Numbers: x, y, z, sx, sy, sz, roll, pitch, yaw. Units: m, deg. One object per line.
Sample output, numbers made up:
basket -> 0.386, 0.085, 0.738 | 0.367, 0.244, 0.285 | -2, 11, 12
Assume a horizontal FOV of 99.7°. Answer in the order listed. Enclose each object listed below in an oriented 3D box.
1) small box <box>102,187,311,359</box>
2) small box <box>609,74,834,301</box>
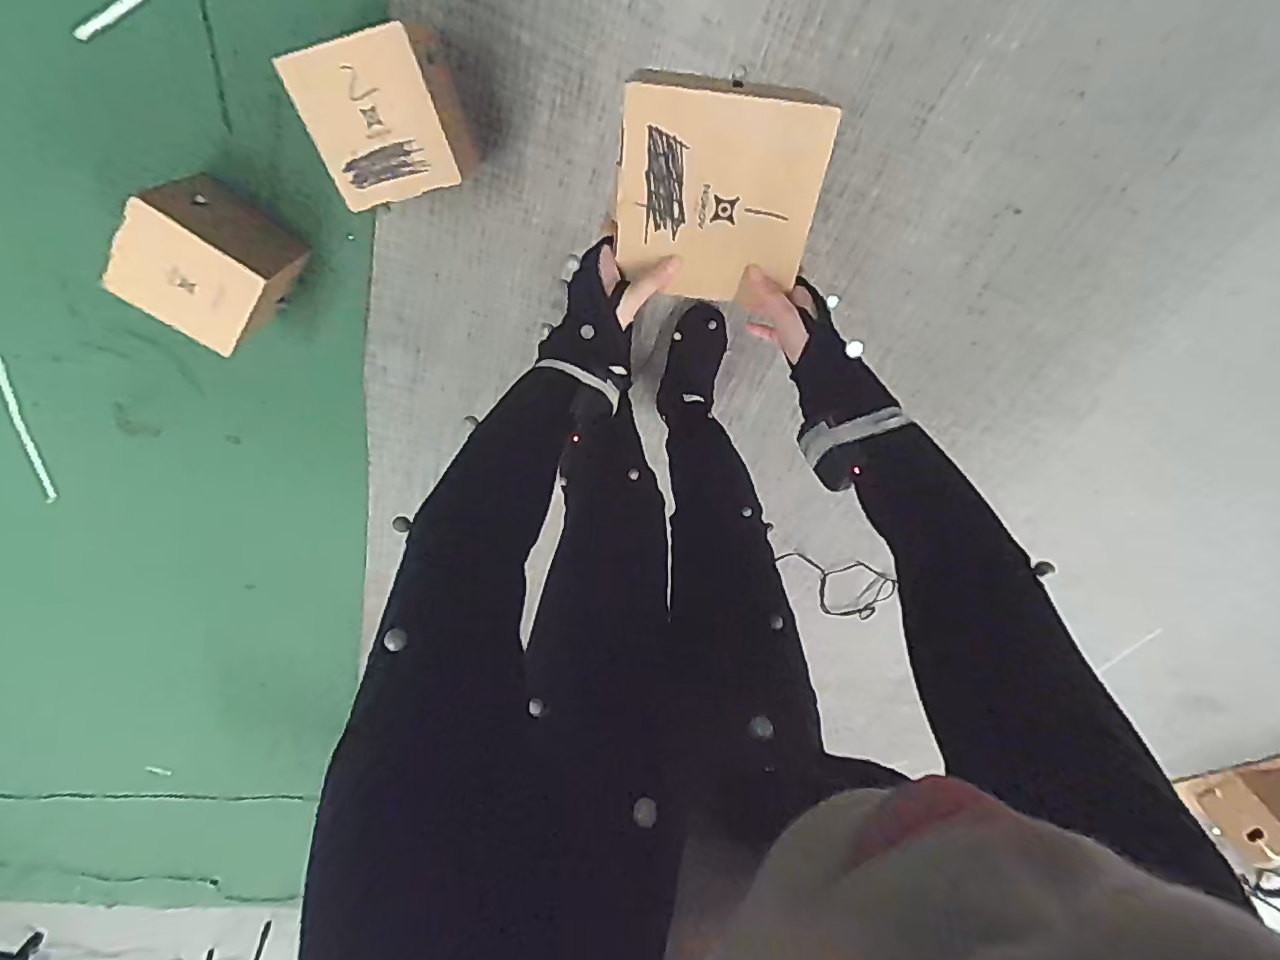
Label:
small box -> -0.671, -0.332, 0.855 | 0.179, 0.176, 0.168 | 35, 118, -27
small box -> 0.068, -0.299, 0.547 | 0.179, 0.176, 0.168 | 6, 129, -2
